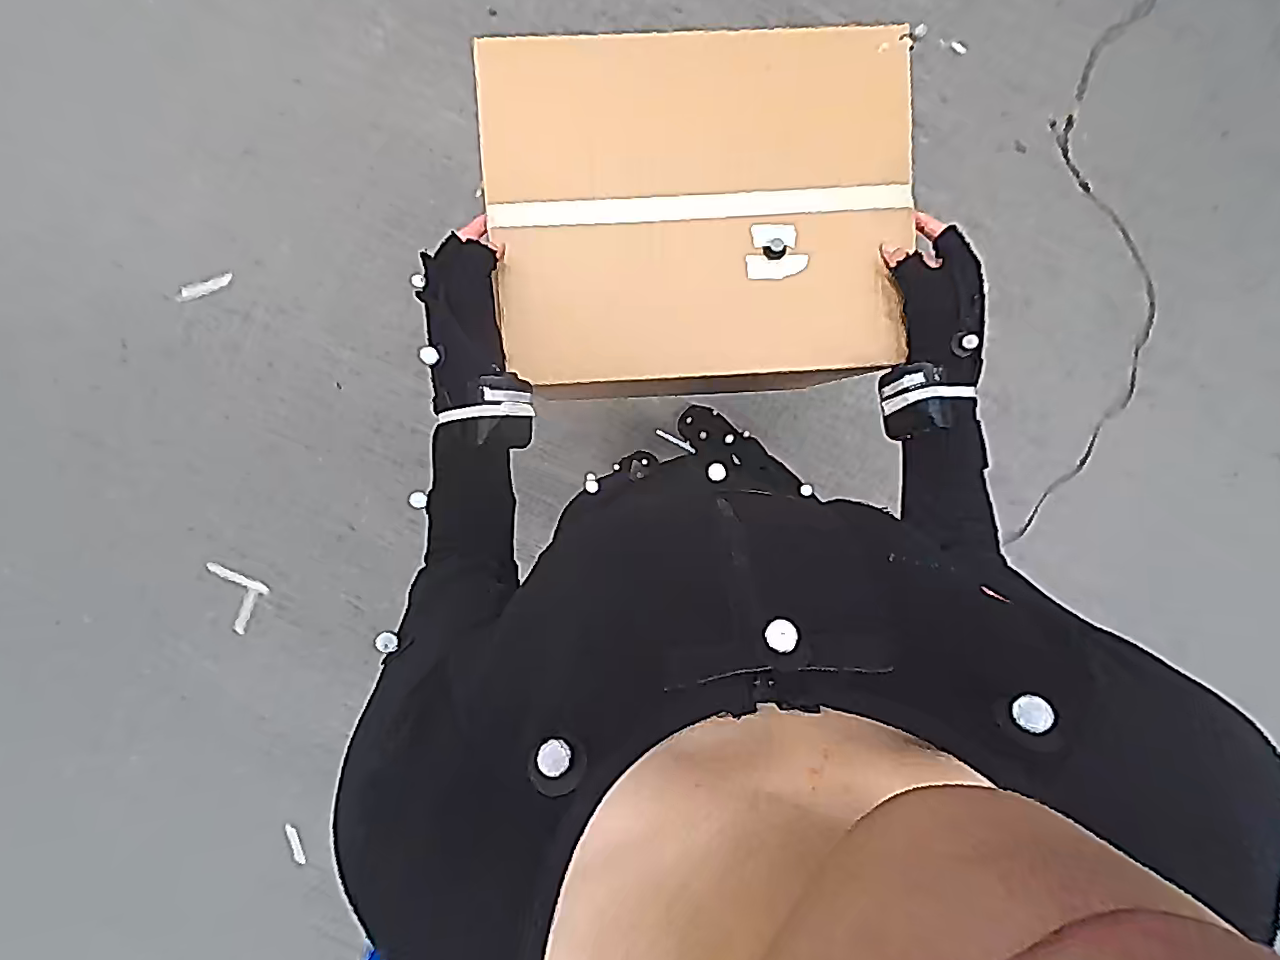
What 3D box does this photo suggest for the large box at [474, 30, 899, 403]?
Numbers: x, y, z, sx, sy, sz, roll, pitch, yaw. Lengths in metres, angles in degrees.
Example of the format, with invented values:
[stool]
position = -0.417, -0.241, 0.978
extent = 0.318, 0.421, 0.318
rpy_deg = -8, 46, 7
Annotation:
[large box]
position = 0.045, -0.276, 0.675
extent = 0.408, 0.320, 0.320
rpy_deg = -4, 95, -2
